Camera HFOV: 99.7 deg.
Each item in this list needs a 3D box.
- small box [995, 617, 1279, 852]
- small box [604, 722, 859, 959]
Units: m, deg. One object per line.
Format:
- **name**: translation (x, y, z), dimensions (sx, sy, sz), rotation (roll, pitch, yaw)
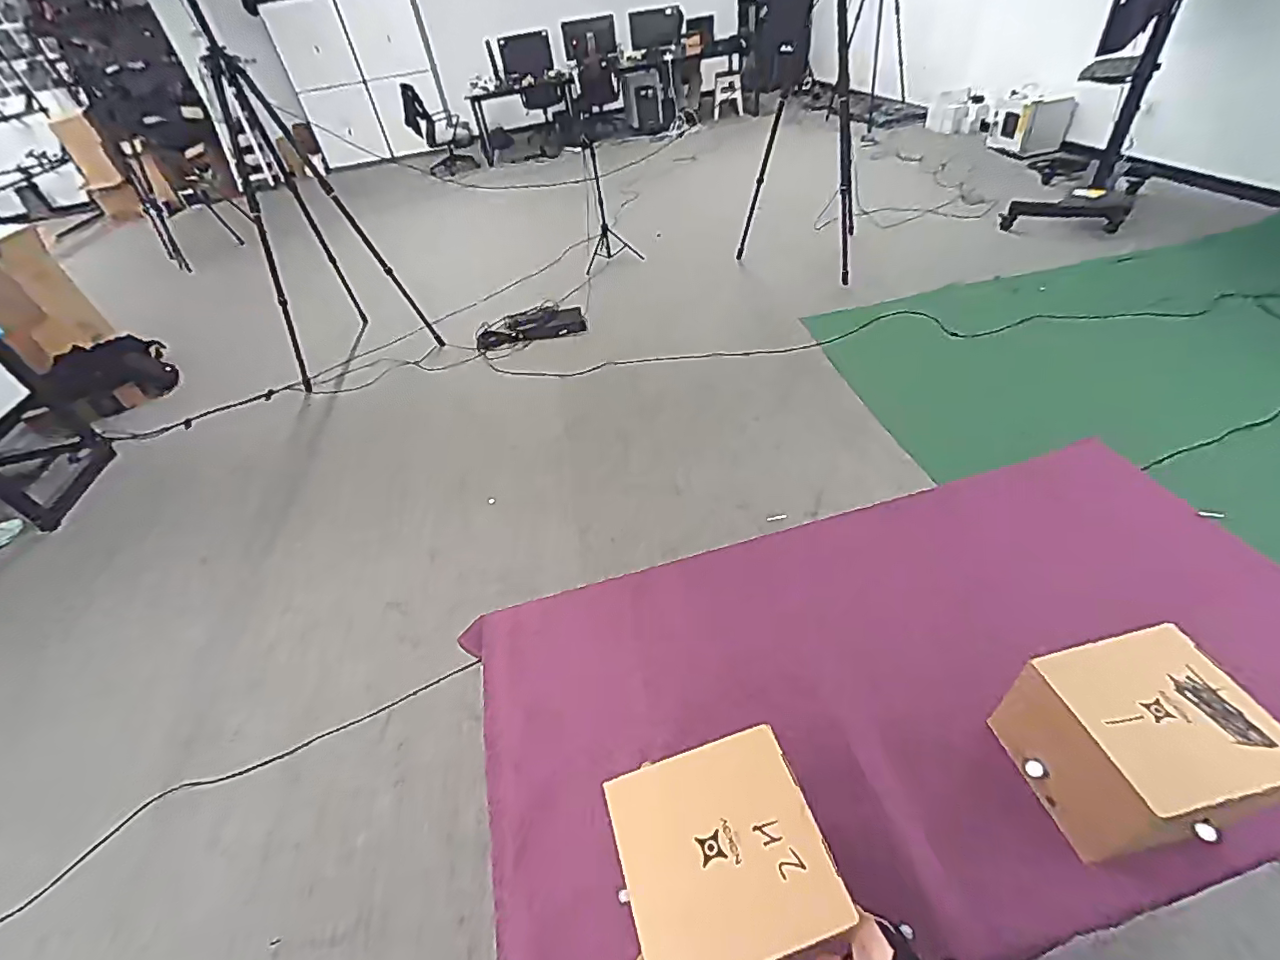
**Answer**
- **small box**: translation (0.547, 0.285, 0.604), dimensions (0.179, 0.176, 0.168), rotation (-14, 43, -2)
- **small box**: translation (0.079, 0.370, 0.524), dimensions (0.179, 0.176, 0.168), rotation (-17, 48, -7)
